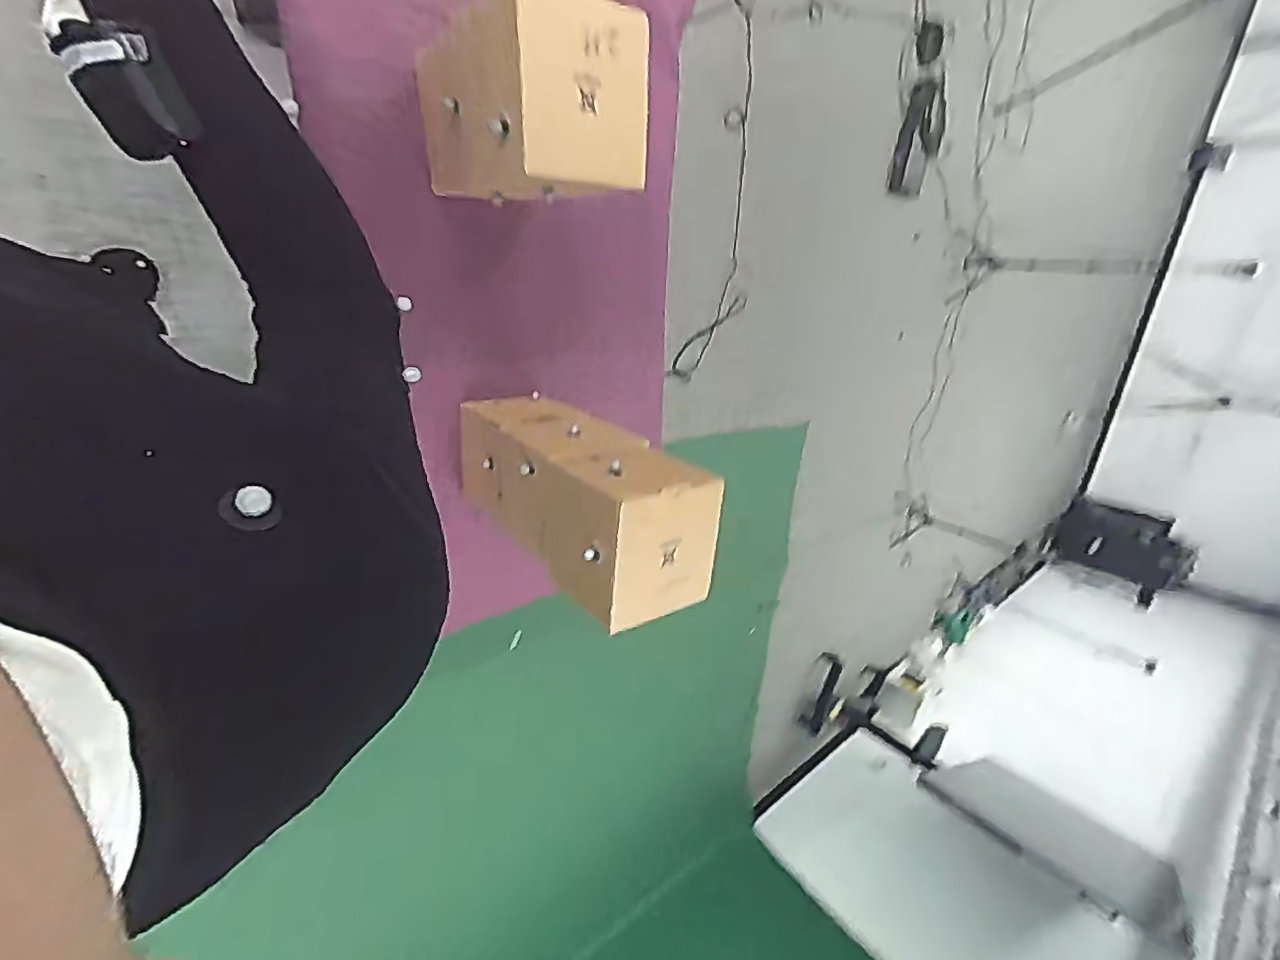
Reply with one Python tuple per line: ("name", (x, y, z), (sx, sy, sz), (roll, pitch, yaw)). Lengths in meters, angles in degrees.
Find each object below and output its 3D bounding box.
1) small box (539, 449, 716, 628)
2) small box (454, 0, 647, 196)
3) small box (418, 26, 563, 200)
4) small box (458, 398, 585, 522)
("small box", (-0.024, 0.062, 0.726), (0.168, 0.176, 0.179), (-9, 115, -38))
("small box", (-0.110, -0.449, 0.651), (0.168, 0.176, 0.179), (-15, 118, -37))
("small box", (-0.202, -0.507, 0.776), (0.168, 0.176, 0.179), (-17, 118, -35))
("small box", (-0.216, -0.047, 0.968), (0.168, 0.176, 0.179), (-12, 116, -38))
